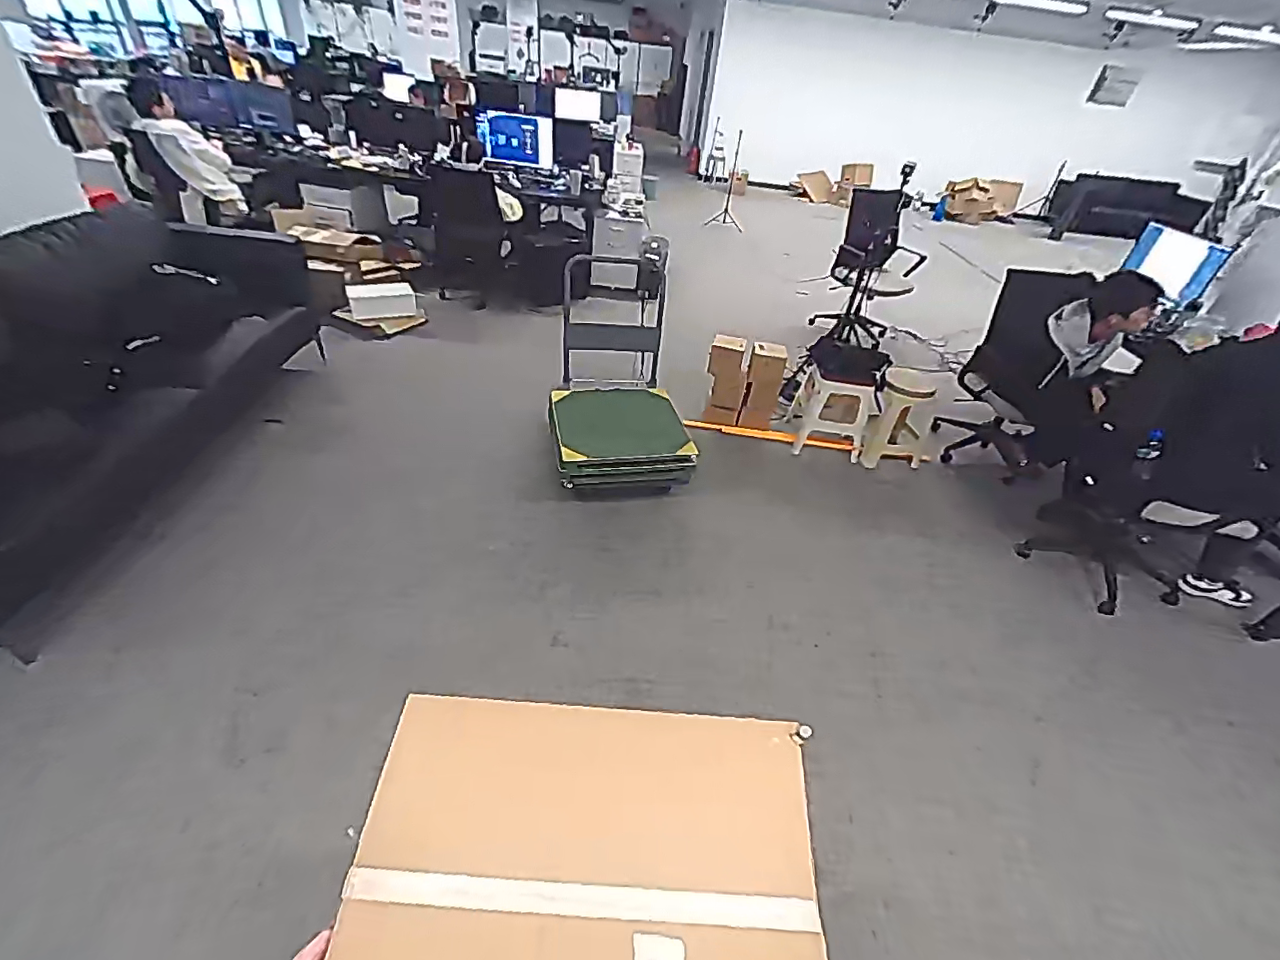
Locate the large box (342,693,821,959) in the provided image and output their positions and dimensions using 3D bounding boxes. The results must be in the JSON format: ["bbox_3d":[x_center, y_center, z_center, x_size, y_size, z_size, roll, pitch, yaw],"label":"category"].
[{"bbox_3d":[-0.051,0.448,0.594,0.408,0.320,0.320,4,53,0],"label":"large box"}]
